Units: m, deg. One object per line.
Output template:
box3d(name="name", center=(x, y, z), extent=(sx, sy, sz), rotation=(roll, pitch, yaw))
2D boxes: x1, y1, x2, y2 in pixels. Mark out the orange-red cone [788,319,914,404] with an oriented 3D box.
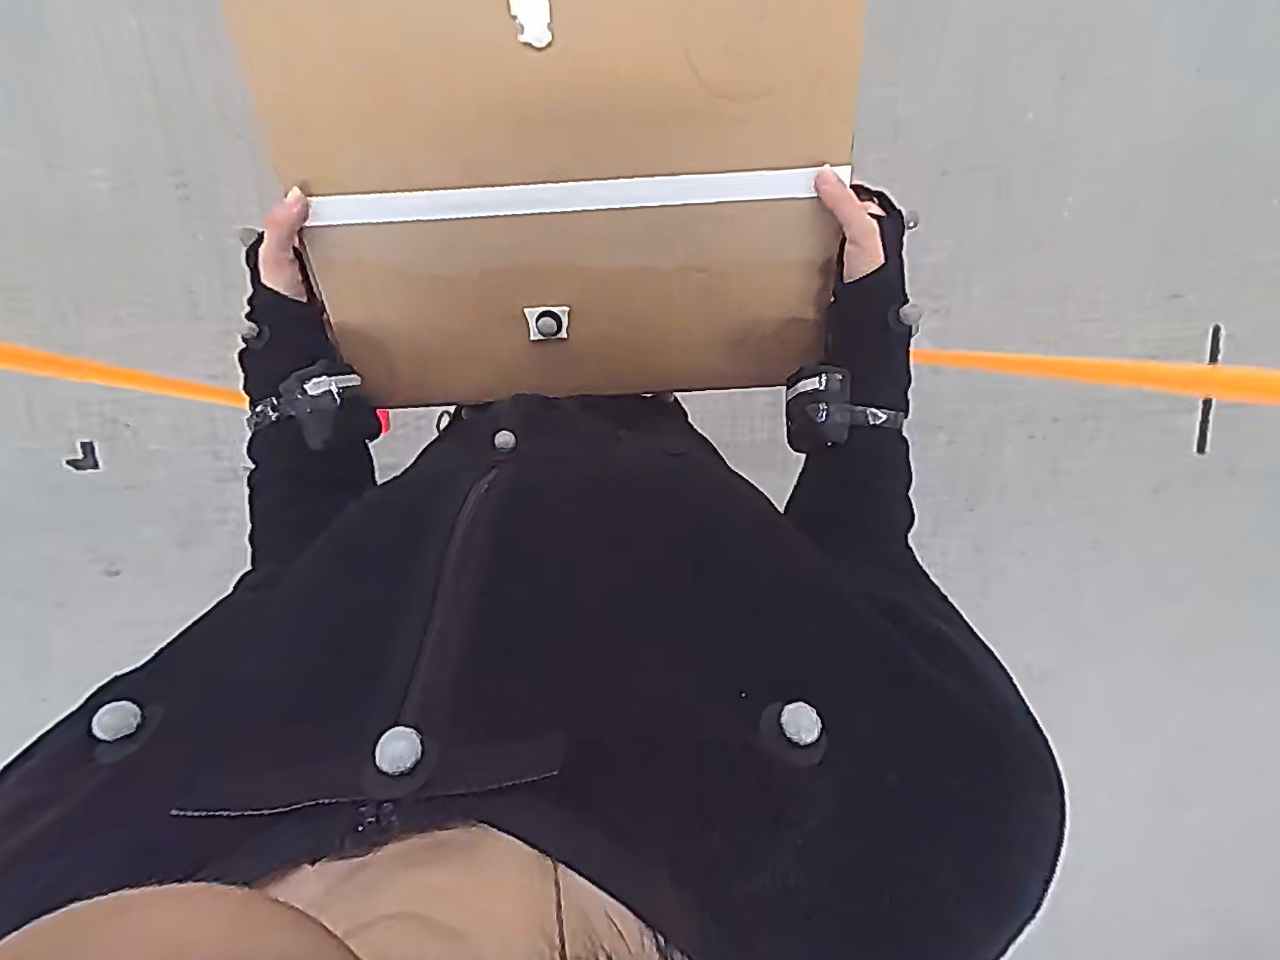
box3d(name="orange-red cone", center=(0.505, -0.271, 1.235), extent=(0.199, 0.360, 0.198), rotation=(-13, 103, -5))
